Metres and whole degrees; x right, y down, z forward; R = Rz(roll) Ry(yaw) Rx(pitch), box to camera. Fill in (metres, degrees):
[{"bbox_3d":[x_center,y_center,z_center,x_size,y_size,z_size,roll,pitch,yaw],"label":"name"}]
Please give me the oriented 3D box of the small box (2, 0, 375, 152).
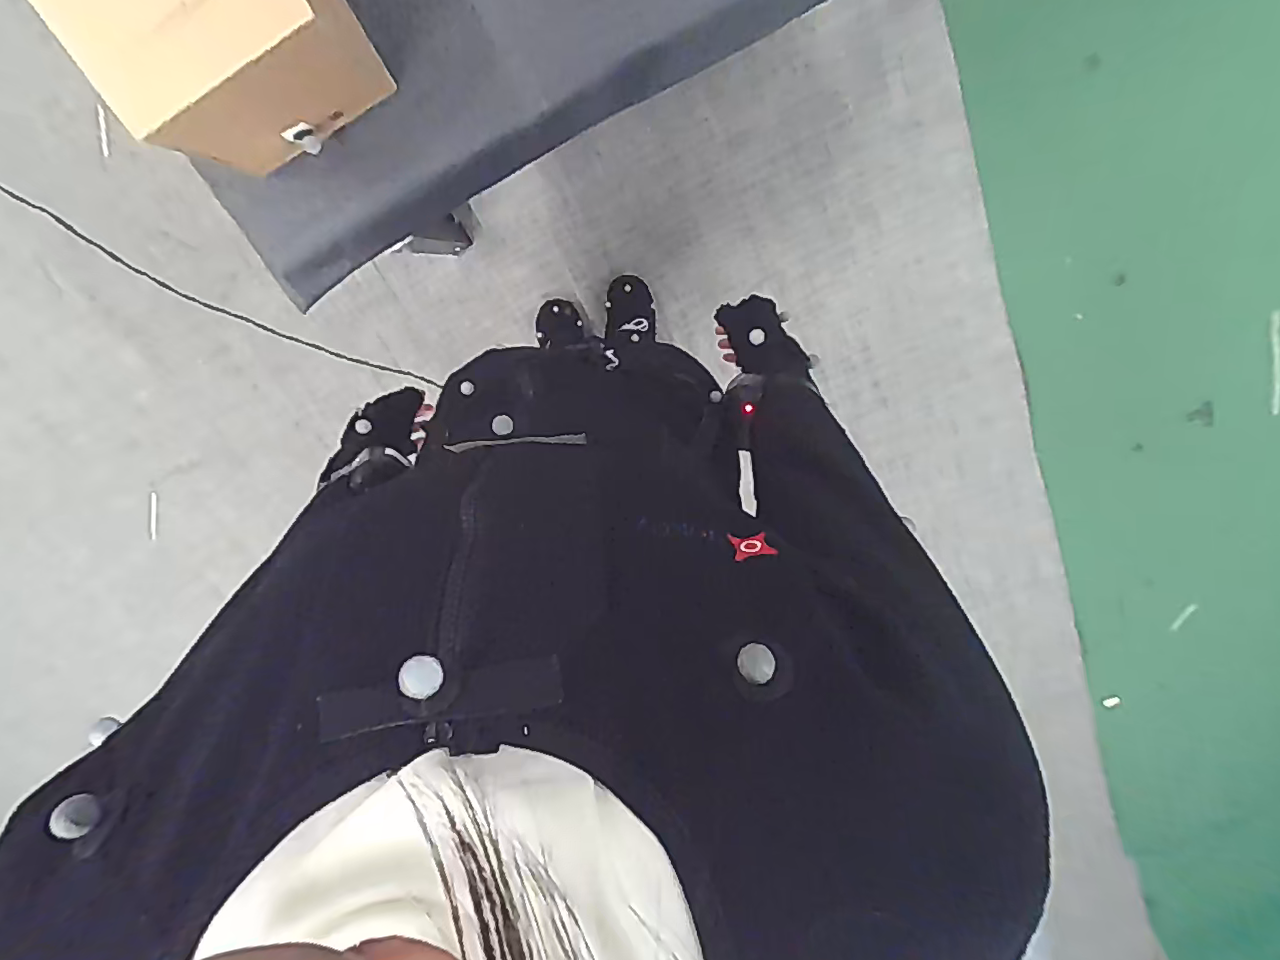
[{"bbox_3d":[-0.343,-0.383,0.403,0.168,0.176,0.179,-25,111,8],"label":"small box"}]
